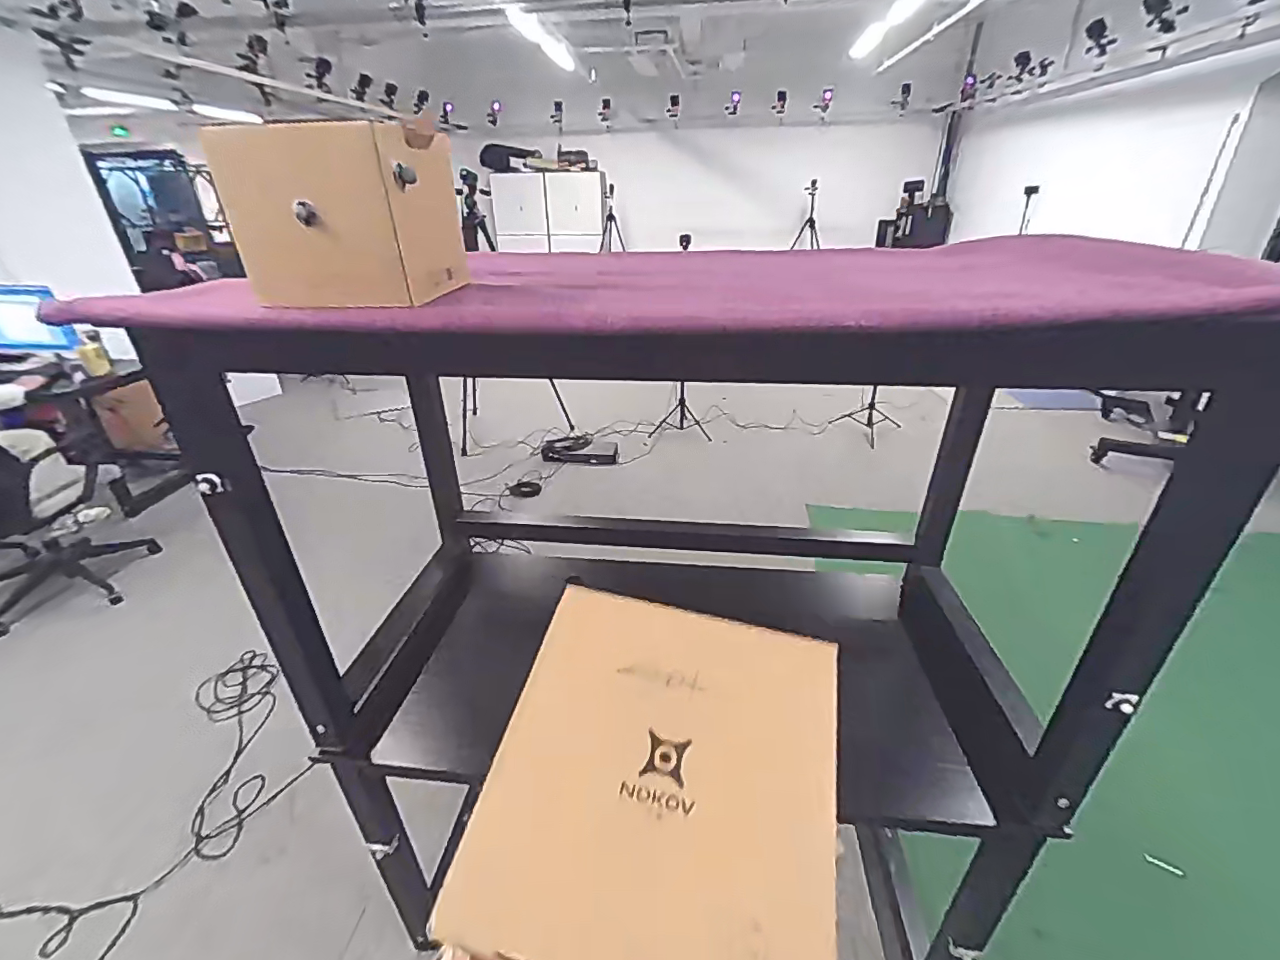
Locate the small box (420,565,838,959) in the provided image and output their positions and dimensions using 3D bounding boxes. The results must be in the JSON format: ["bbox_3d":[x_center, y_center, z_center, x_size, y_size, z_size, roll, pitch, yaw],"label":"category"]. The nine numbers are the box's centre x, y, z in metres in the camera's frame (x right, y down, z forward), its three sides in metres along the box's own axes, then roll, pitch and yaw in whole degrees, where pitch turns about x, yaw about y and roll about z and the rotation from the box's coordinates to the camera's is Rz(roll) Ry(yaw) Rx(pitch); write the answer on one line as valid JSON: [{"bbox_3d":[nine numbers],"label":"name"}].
[{"bbox_3d":[0.010,0.182,0.315,0.168,0.176,0.179,11,47,9],"label":"small box"}]
